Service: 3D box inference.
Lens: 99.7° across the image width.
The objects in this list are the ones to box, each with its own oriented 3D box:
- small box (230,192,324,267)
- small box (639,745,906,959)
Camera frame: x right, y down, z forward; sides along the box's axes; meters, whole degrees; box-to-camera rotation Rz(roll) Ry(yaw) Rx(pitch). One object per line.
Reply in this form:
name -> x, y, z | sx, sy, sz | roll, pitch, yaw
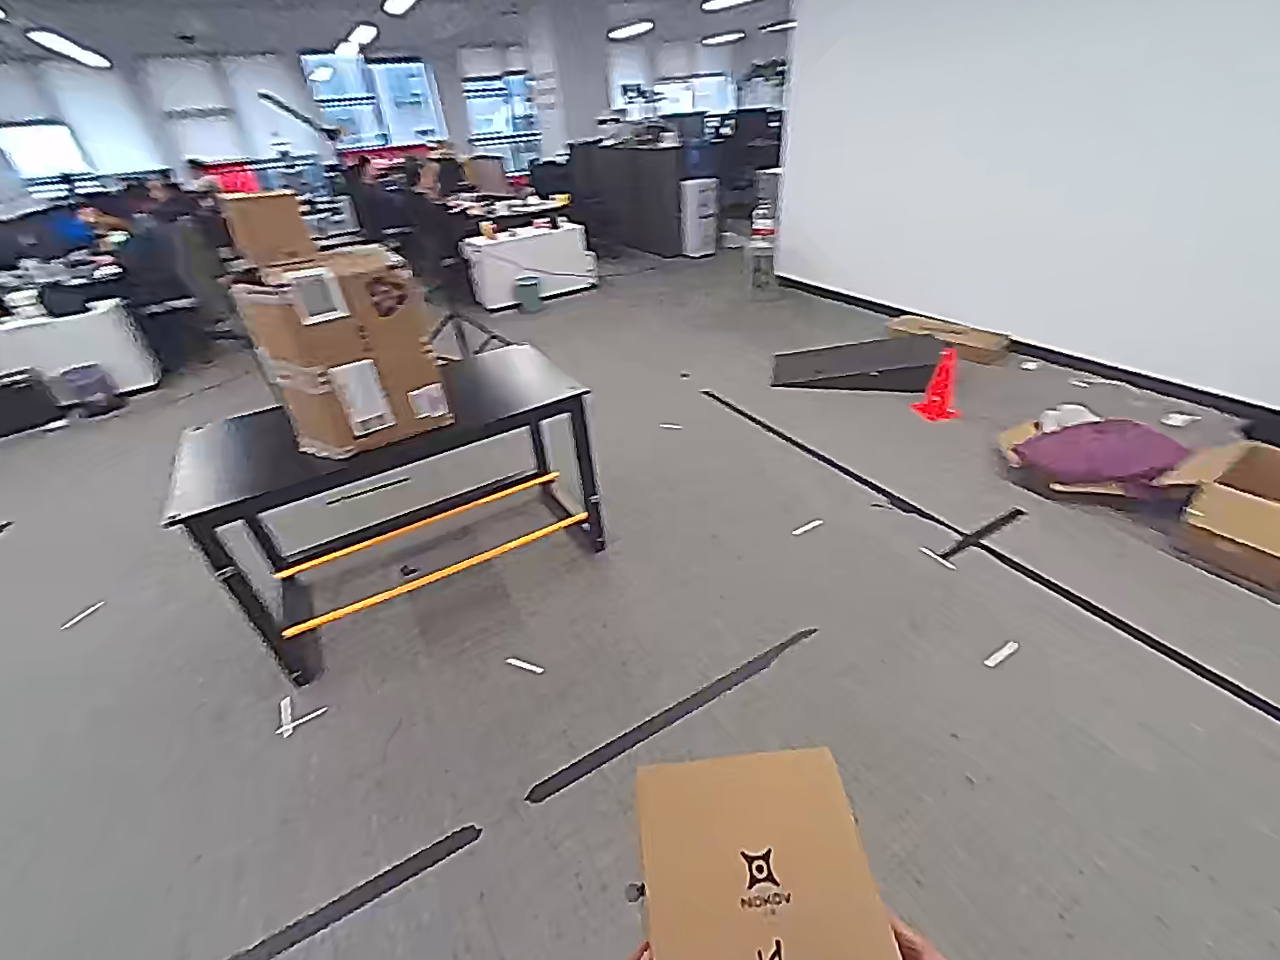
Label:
small box -> -1.002, -0.694, 1.494 | 0.168, 0.176, 0.179 | -23, 37, -28
small box -> 0.088, 0.346, 0.442 | 0.168, 0.176, 0.179 | -4, 43, -4
